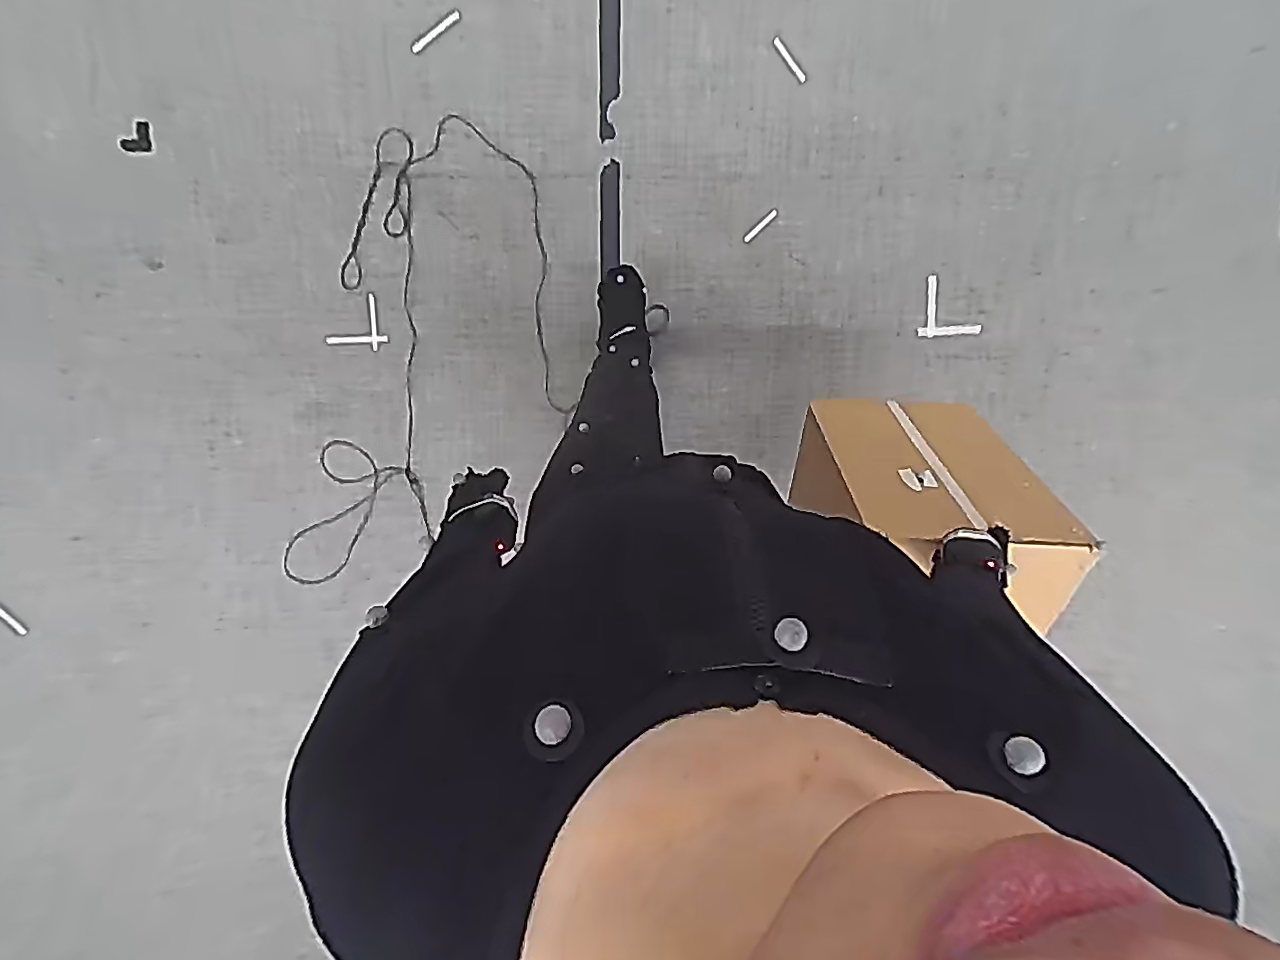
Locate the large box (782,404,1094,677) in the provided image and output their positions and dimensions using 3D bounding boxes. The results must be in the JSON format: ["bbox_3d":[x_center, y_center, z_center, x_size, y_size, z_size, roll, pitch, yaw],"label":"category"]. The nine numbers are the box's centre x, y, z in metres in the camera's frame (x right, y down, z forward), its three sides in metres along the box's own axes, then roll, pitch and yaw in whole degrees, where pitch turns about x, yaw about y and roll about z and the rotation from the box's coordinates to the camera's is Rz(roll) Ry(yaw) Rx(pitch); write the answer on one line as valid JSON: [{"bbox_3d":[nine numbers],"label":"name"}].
[{"bbox_3d":[0.475,0.095,0.992,0.320,0.408,0.320,1,127,1],"label":"large box"}]
